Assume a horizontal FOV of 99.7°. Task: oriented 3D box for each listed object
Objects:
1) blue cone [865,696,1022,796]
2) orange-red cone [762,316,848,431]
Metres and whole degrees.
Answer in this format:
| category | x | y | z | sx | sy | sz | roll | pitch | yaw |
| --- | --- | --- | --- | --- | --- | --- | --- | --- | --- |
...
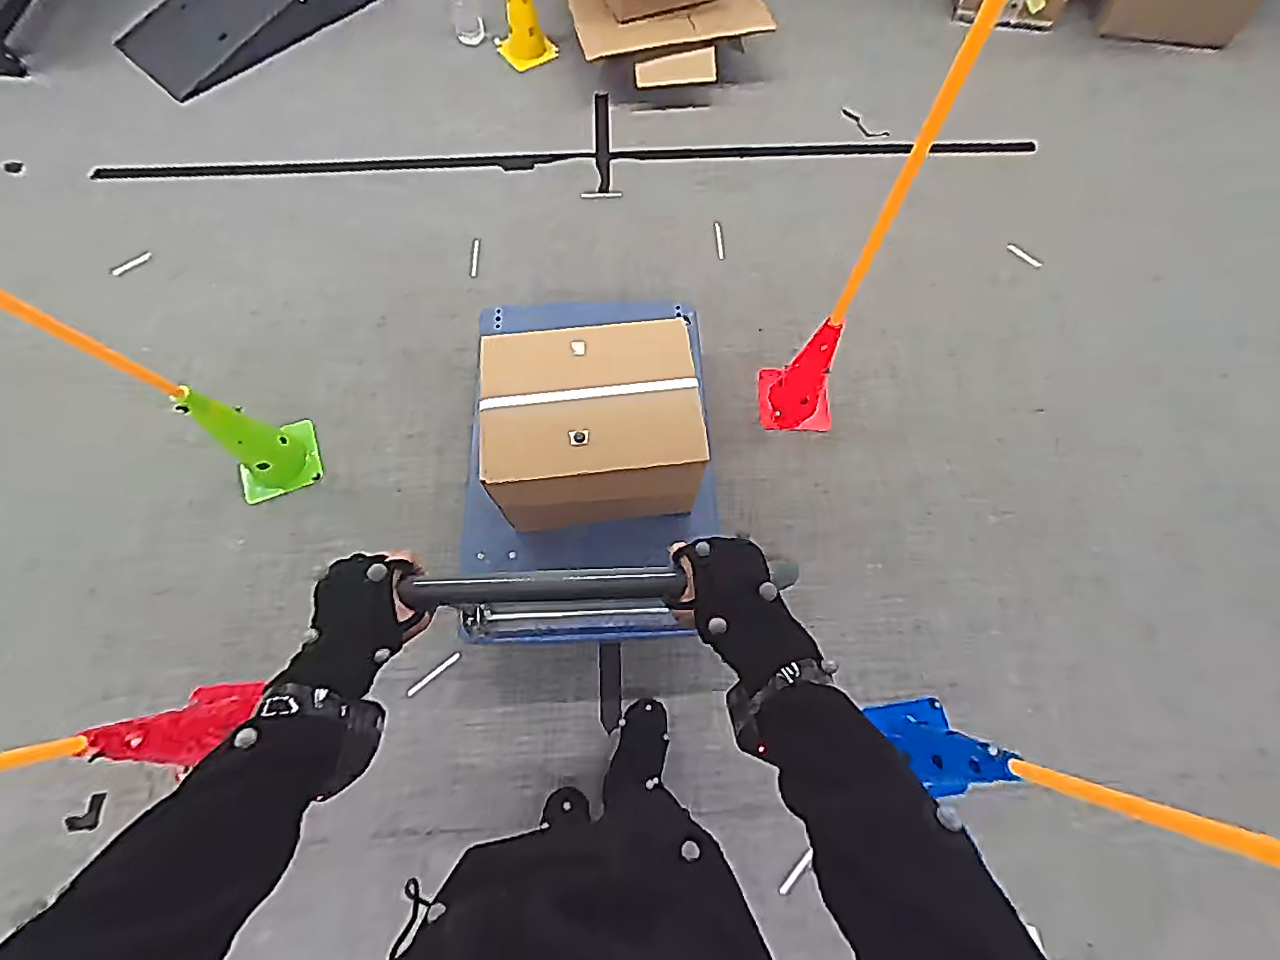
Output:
| category | x | y | z | sx | sy | sz | roll | pitch | yaw |
| --- | --- | --- | --- | --- | --- | --- | --- | --- | --- |
| blue cone | 0.626 | 0.539 | 1.077 | 0.193 | 0.380 | 0.192 | -6 | 67 | -4 |
| orange-red cone | 0.455 | -0.297 | 1.396 | 0.199 | 0.360 | 0.198 | 4 | 69 | 0 |
